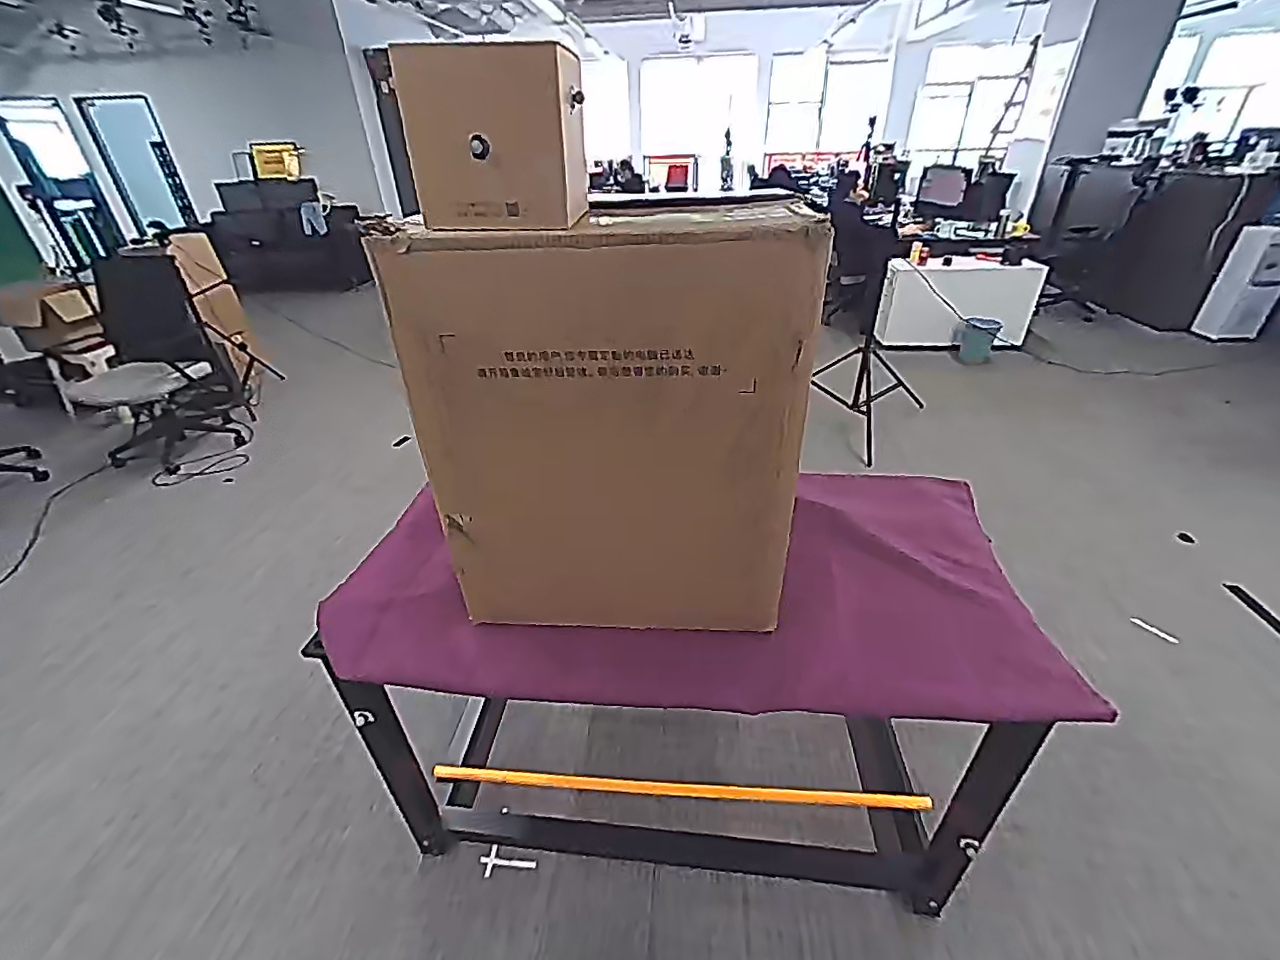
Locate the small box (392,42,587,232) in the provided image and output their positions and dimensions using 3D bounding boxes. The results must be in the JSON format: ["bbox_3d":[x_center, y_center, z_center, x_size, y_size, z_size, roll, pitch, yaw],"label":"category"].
[{"bbox_3d":[-0.155,-0.392,0.632,0.168,0.176,0.179,2,33,2],"label":"small box"}]
